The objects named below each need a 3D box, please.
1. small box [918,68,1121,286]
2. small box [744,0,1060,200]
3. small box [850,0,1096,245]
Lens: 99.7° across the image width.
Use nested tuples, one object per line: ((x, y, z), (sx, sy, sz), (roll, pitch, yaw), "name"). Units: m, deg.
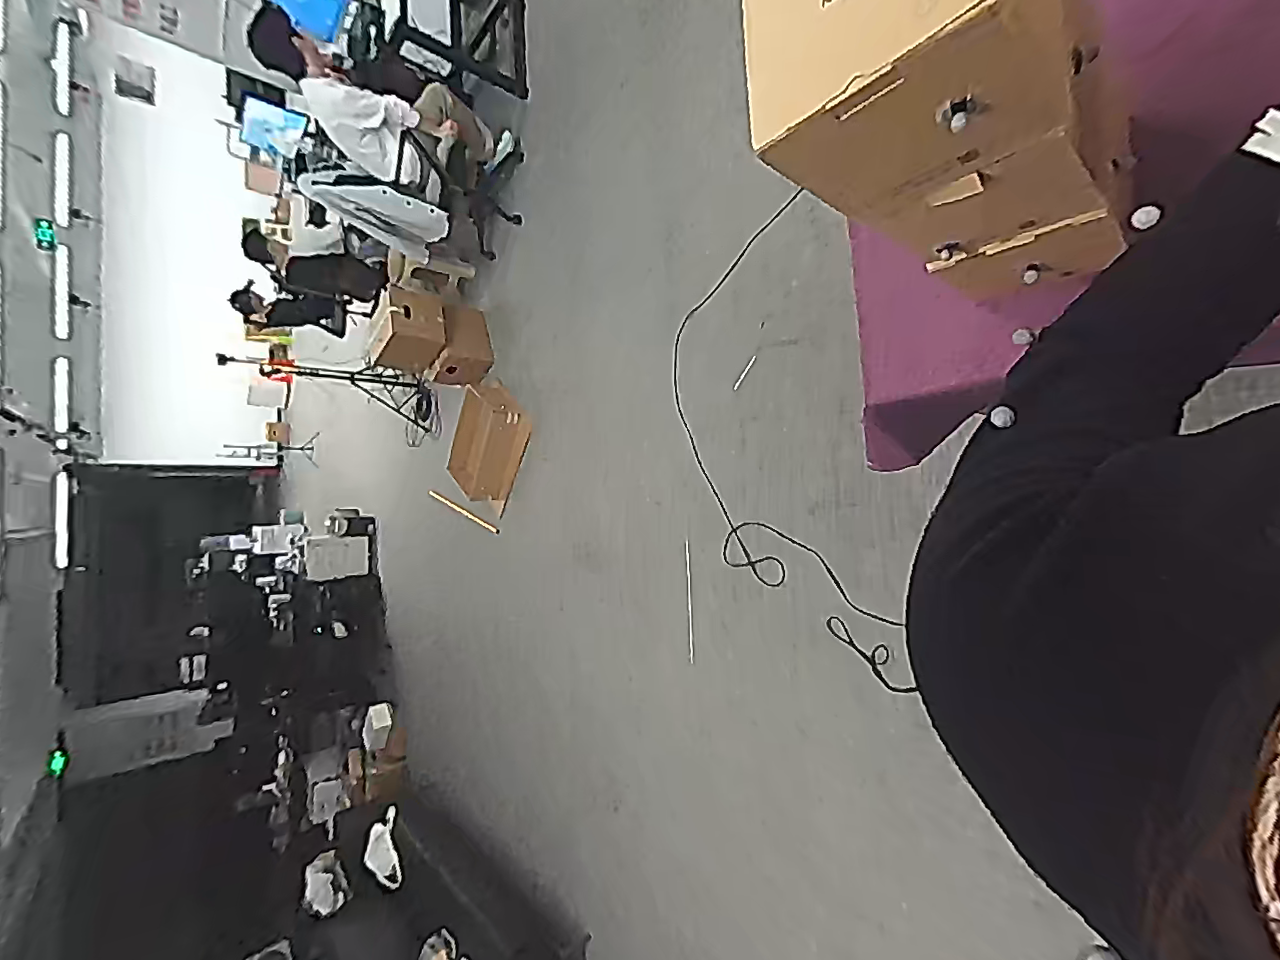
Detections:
((0.439, -0.341, 0.631), (0.168, 0.176, 0.179), (-4, 89, 47), "small box")
((0.197, -0.342, 0.410), (0.168, 0.176, 0.179), (-5, 86, 47), "small box")
((0.318, -0.347, 0.519), (0.168, 0.176, 0.179), (-2, 88, 48), "small box")
